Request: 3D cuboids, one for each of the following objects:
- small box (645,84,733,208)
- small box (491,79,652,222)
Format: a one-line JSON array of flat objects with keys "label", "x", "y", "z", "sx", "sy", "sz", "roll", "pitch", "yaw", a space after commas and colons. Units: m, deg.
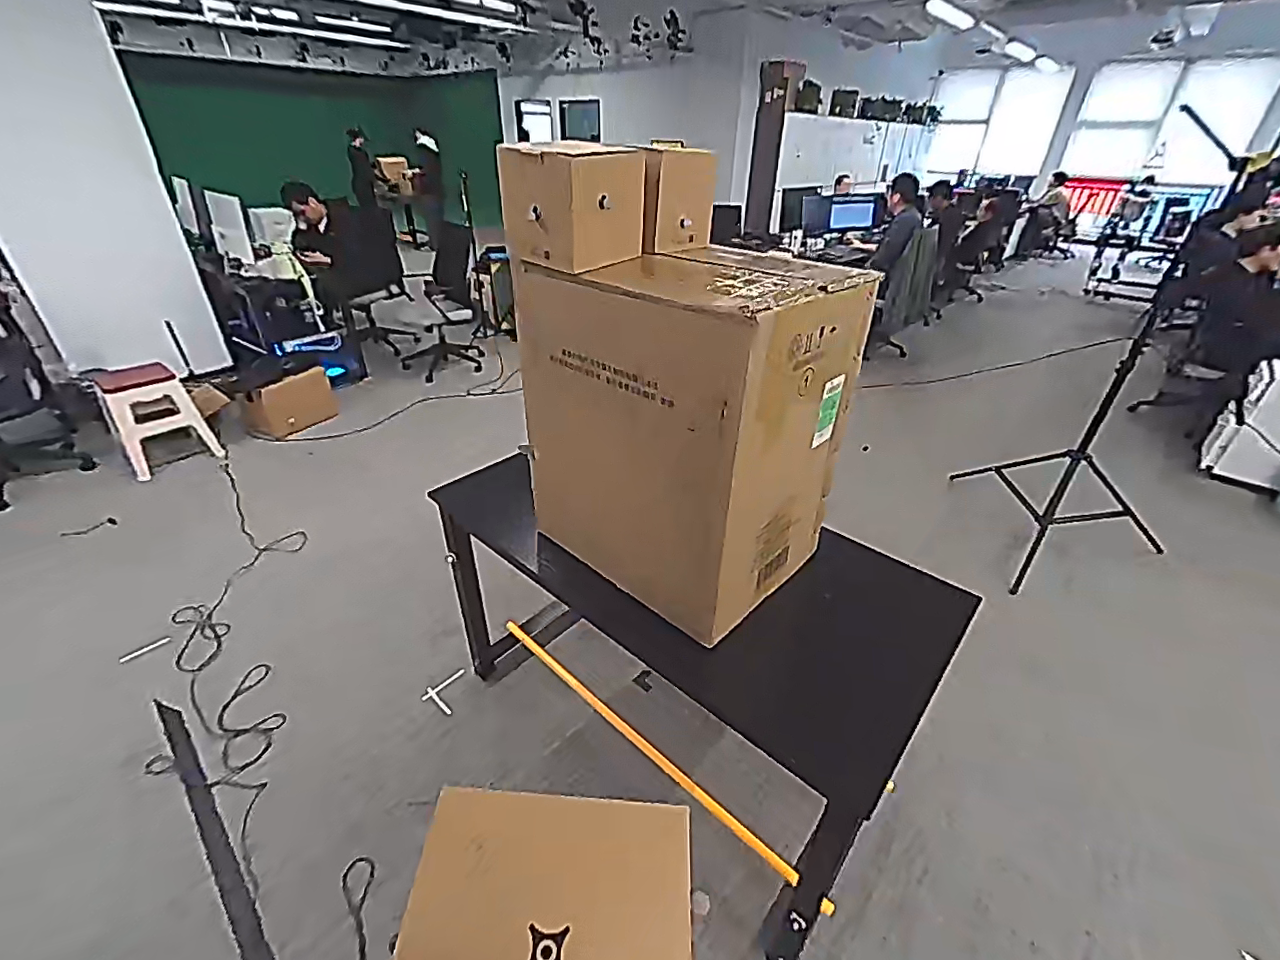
[{"label": "small box", "x": 0.037, "y": -0.586, "z": 0.958, "sx": 0.179, "sy": 0.176, "sz": 0.168, "roll": 29, "pitch": 40, "yaw": 34}, {"label": "small box", "x": -0.096, "y": -0.503, "z": 0.823, "sx": 0.168, "sy": 0.176, "sz": 0.179, "roll": 26, "pitch": 43, "yaw": 28}]
